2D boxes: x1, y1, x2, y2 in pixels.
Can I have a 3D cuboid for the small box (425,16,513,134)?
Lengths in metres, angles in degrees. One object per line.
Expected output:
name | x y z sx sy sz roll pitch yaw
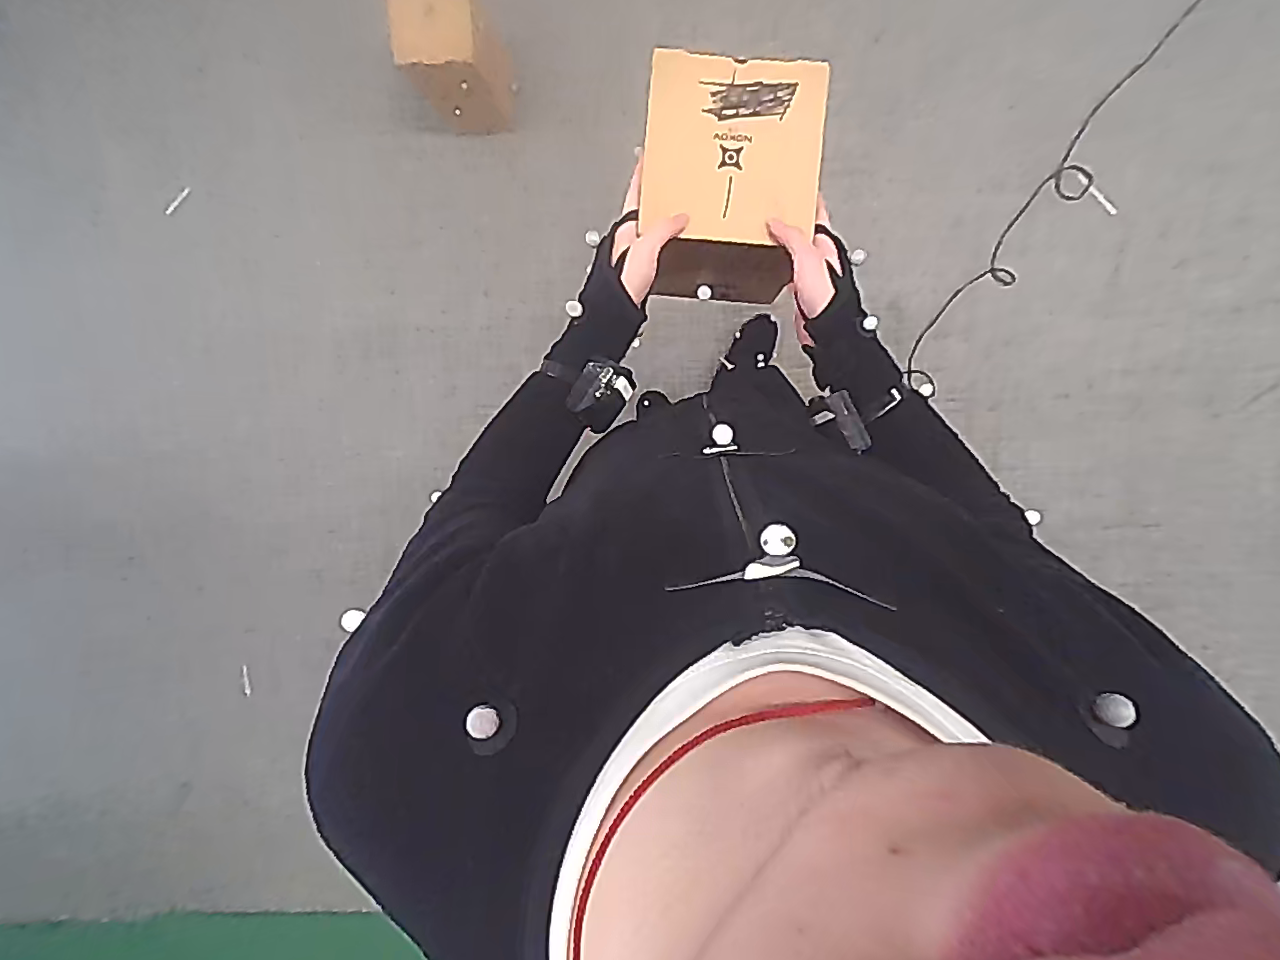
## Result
small box | -0.412 -0.973 1.310 0.168 0.176 0.179 0 101 2

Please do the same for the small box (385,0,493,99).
small box | -0.419 -0.943 1.150 0.168 0.176 0.179 -2 100 2

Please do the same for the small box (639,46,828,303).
small box | 0.087 -0.311 0.583 0.168 0.176 0.179 5 90 1
